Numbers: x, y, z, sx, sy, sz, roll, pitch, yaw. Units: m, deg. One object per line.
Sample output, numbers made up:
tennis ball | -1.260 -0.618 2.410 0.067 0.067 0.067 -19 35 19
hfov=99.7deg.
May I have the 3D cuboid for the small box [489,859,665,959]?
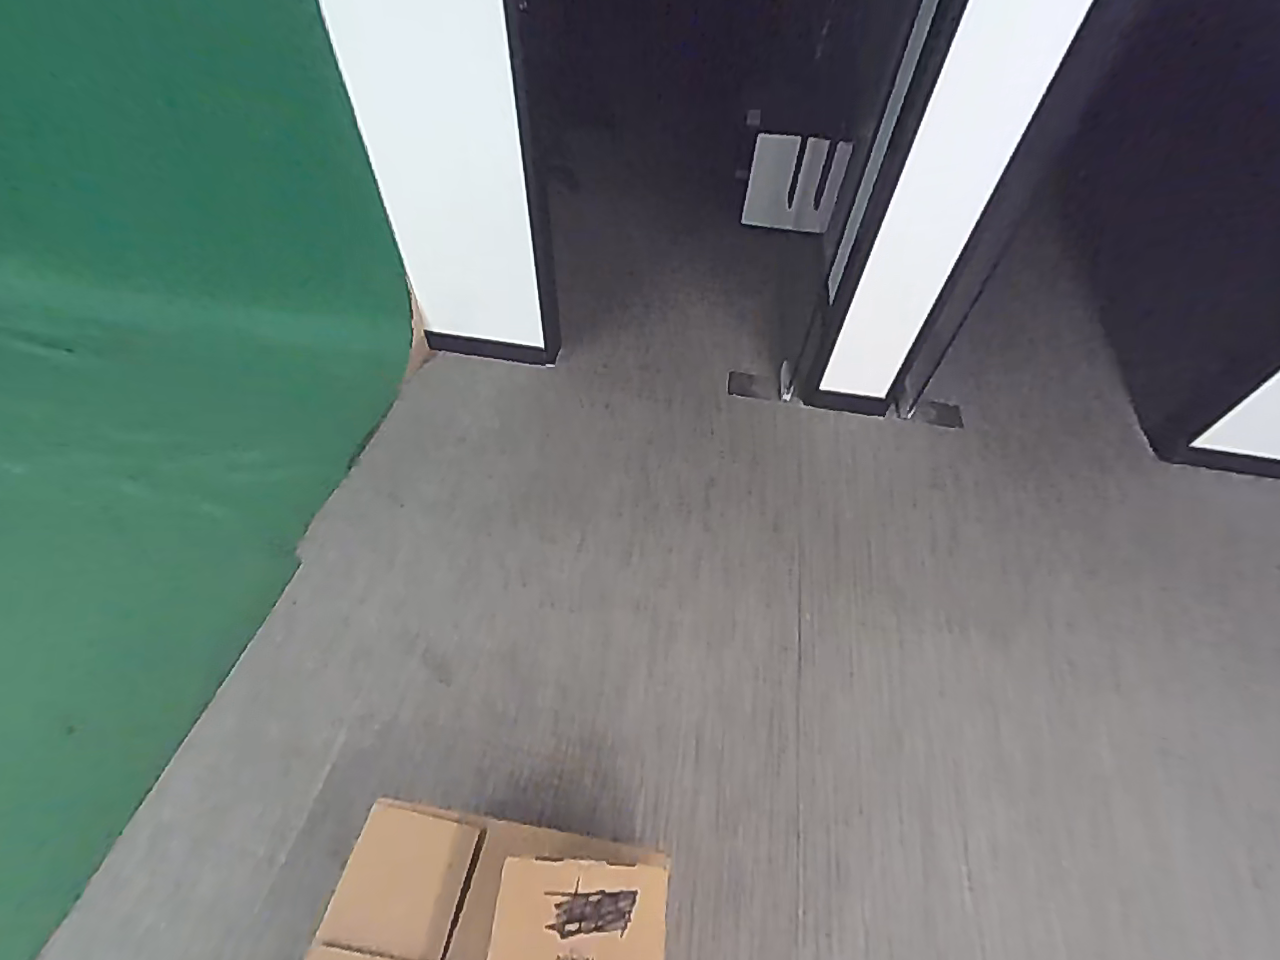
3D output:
small box | -0.060 0.511 0.557 0.168 0.176 0.179 1 51 3
